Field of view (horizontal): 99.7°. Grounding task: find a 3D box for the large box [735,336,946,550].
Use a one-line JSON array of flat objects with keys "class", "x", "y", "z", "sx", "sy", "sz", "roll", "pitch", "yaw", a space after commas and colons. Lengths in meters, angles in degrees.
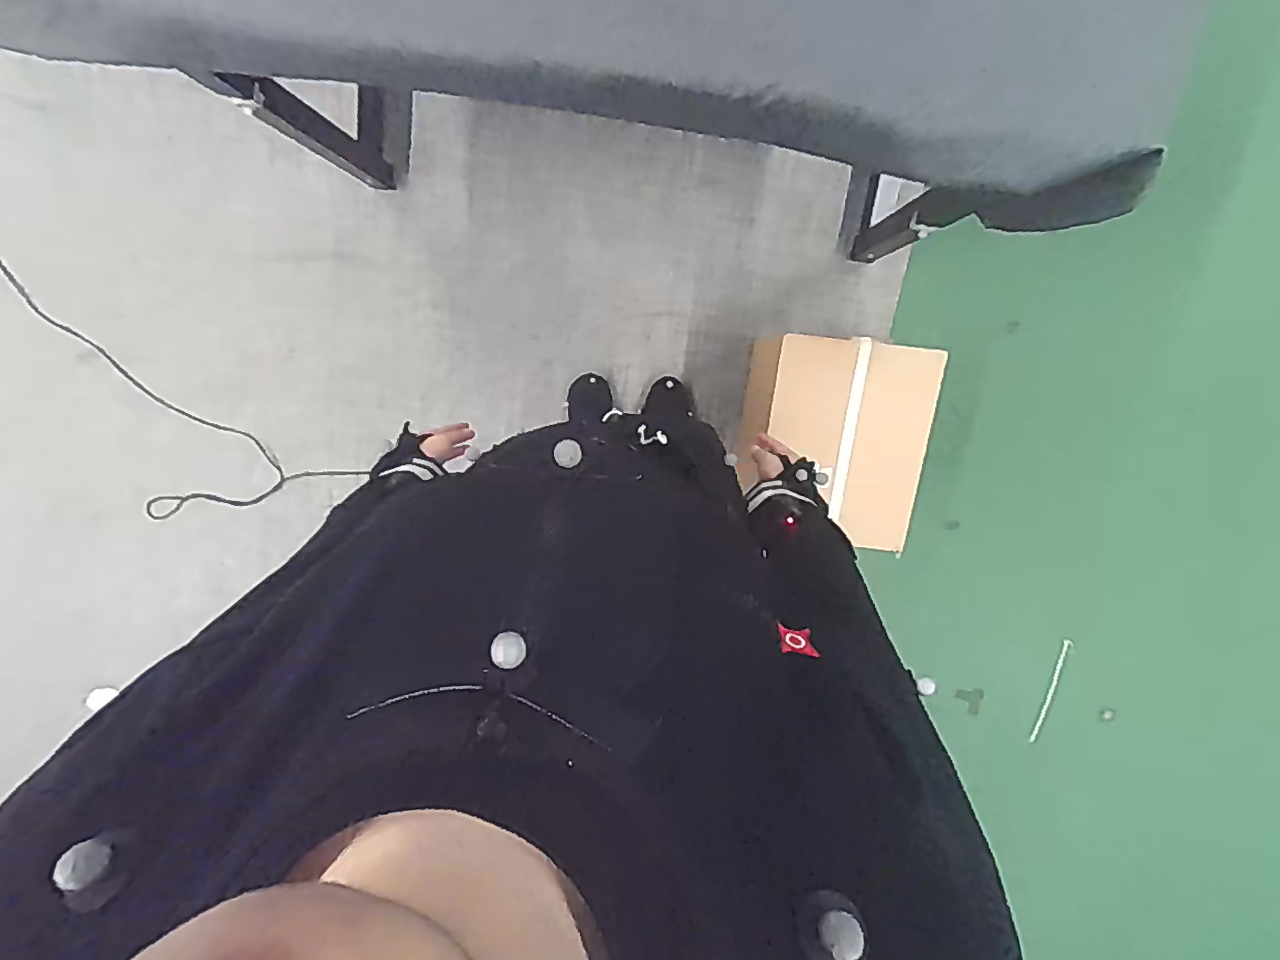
[{"class": "large box", "x": 0.407, "y": -0.097, "z": 1.193, "sx": 0.320, "sy": 0.320, "sz": 0.408, "roll": 6, "pitch": 102, "yaw": 1}]
